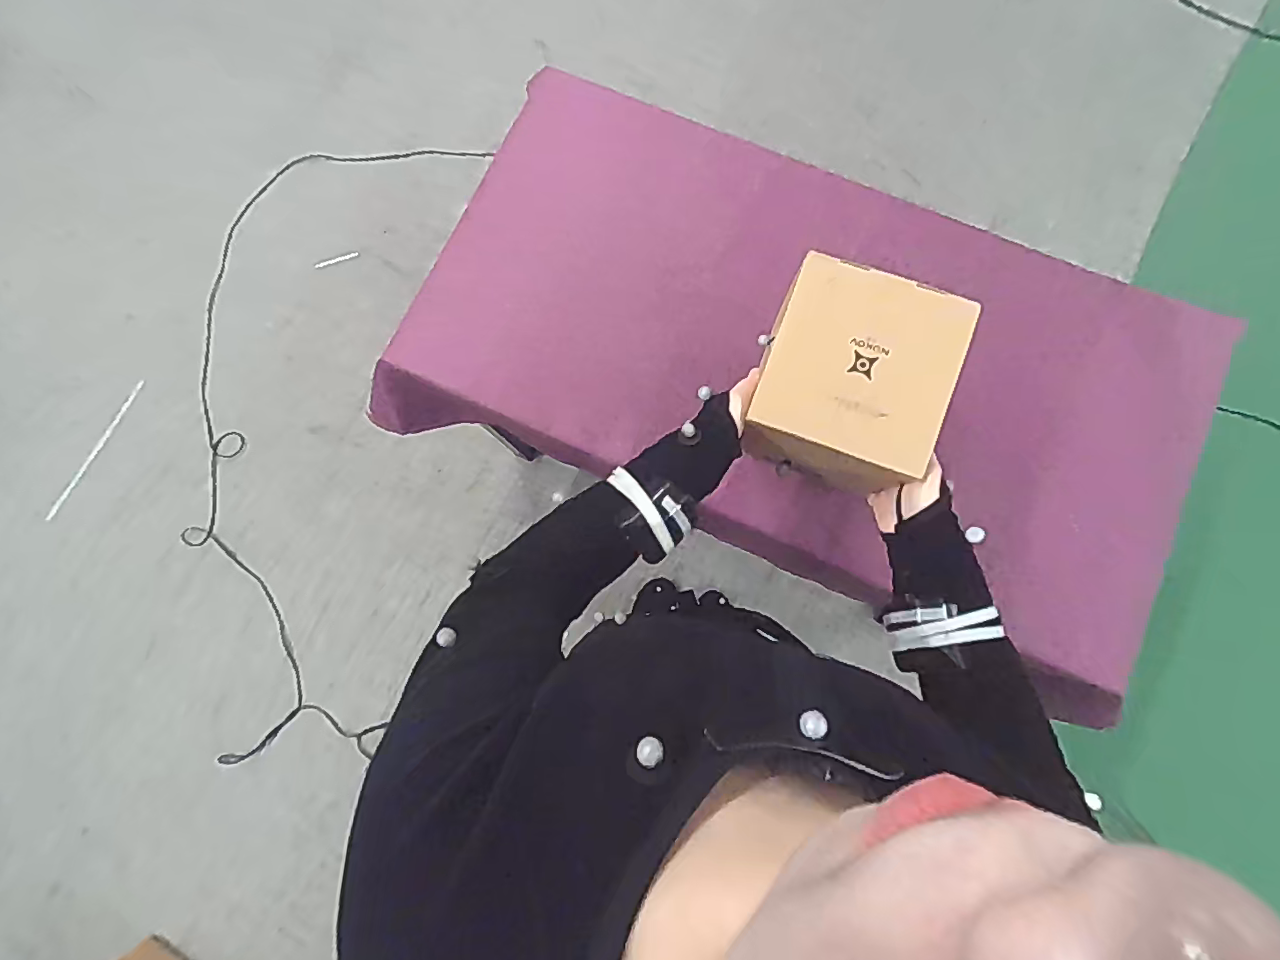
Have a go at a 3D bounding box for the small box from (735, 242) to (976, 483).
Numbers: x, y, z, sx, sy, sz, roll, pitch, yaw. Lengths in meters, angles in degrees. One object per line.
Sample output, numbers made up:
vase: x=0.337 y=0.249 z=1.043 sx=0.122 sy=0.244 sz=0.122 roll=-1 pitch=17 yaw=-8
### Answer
small box: x=0.210 y=-0.110 z=0.578 sx=0.168 sy=0.176 sz=0.179 roll=21 pitch=86 yaw=6
